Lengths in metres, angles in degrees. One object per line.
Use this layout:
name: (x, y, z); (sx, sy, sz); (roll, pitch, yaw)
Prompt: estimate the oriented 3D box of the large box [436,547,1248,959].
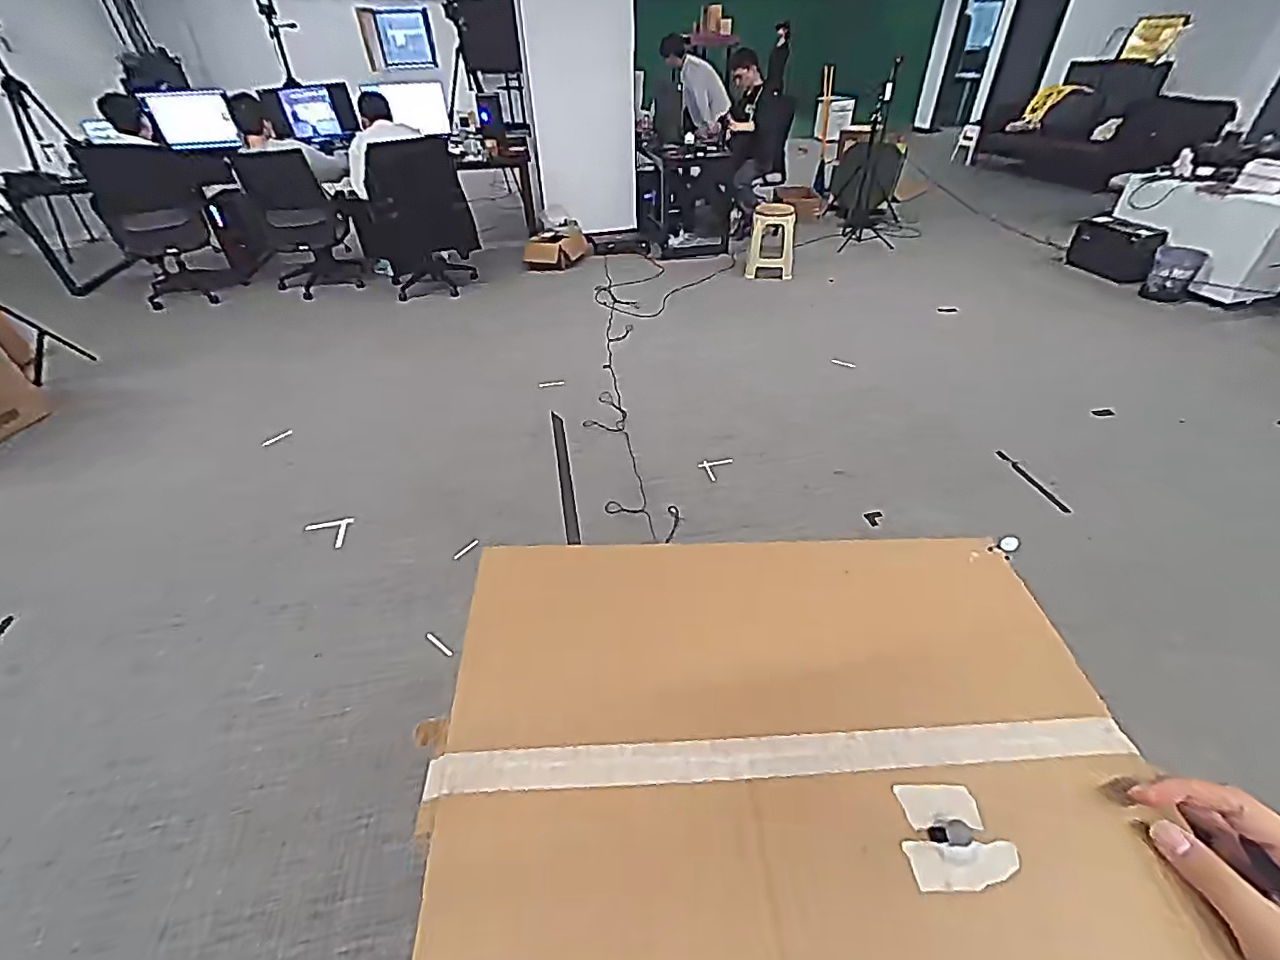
large box: (0.084, 0.270, 0.426); (0.408, 0.320, 0.320); (0, 46, -6)
